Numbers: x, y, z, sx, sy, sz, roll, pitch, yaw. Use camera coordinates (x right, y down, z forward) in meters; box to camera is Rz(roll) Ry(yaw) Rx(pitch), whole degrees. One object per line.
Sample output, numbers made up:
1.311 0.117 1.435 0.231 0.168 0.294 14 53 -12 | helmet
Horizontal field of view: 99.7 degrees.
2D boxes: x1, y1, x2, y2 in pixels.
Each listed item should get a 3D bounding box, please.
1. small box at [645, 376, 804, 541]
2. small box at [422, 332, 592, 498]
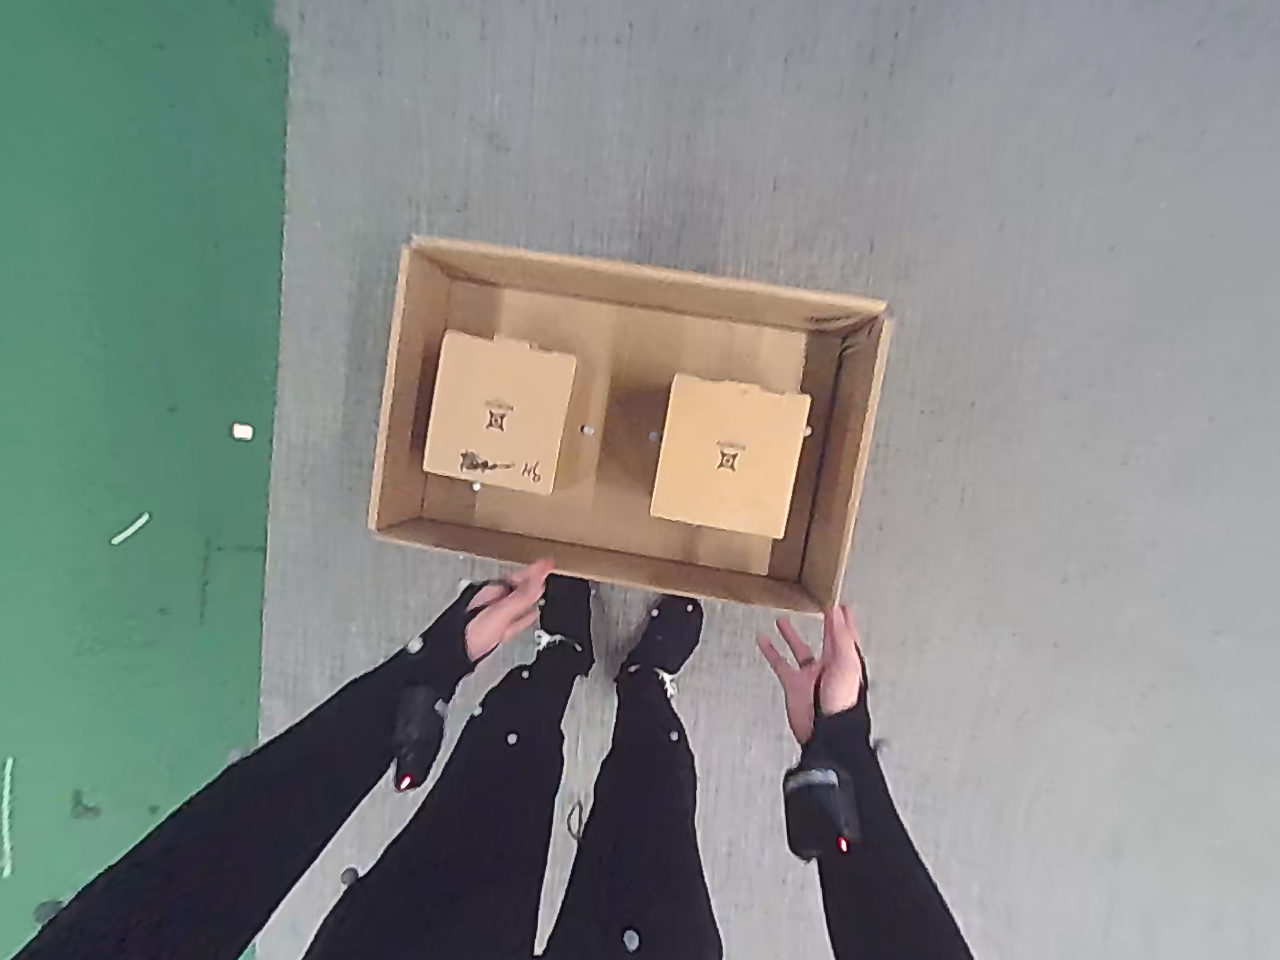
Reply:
0.106 -0.031 0.729 0.168 0.176 0.179 10 94 3 | small box
-0.168 -0.083 0.738 0.168 0.176 0.179 13 93 4 | small box
